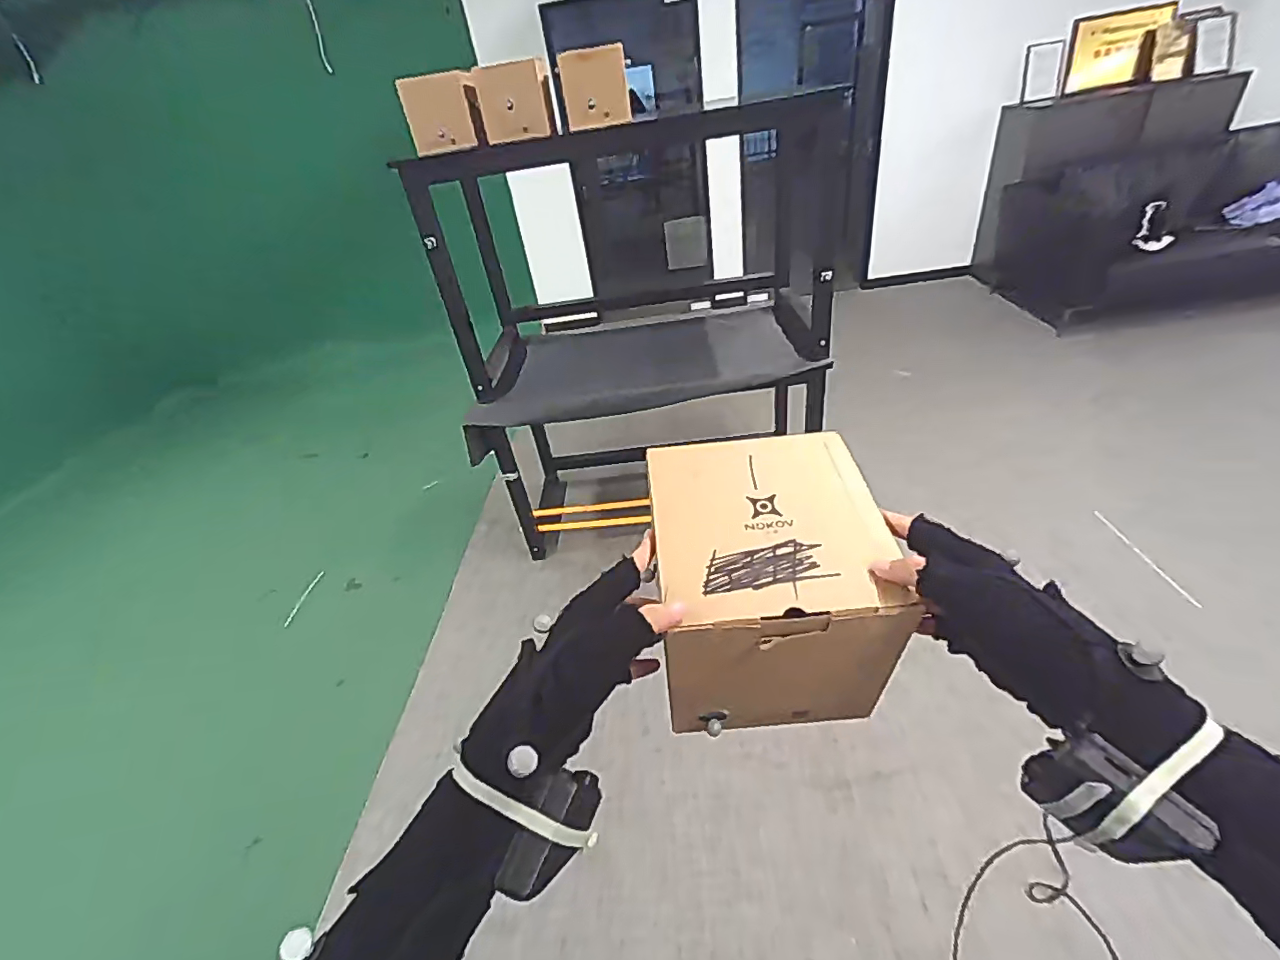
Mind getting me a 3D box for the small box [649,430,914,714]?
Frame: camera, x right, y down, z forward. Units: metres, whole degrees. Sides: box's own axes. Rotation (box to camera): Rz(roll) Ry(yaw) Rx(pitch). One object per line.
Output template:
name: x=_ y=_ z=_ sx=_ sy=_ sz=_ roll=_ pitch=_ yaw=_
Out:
small box: x=0.099 y=0.082 z=0.461 sx=0.168 sy=0.176 sz=0.179 roll=-5 pitch=43 yaw=0
